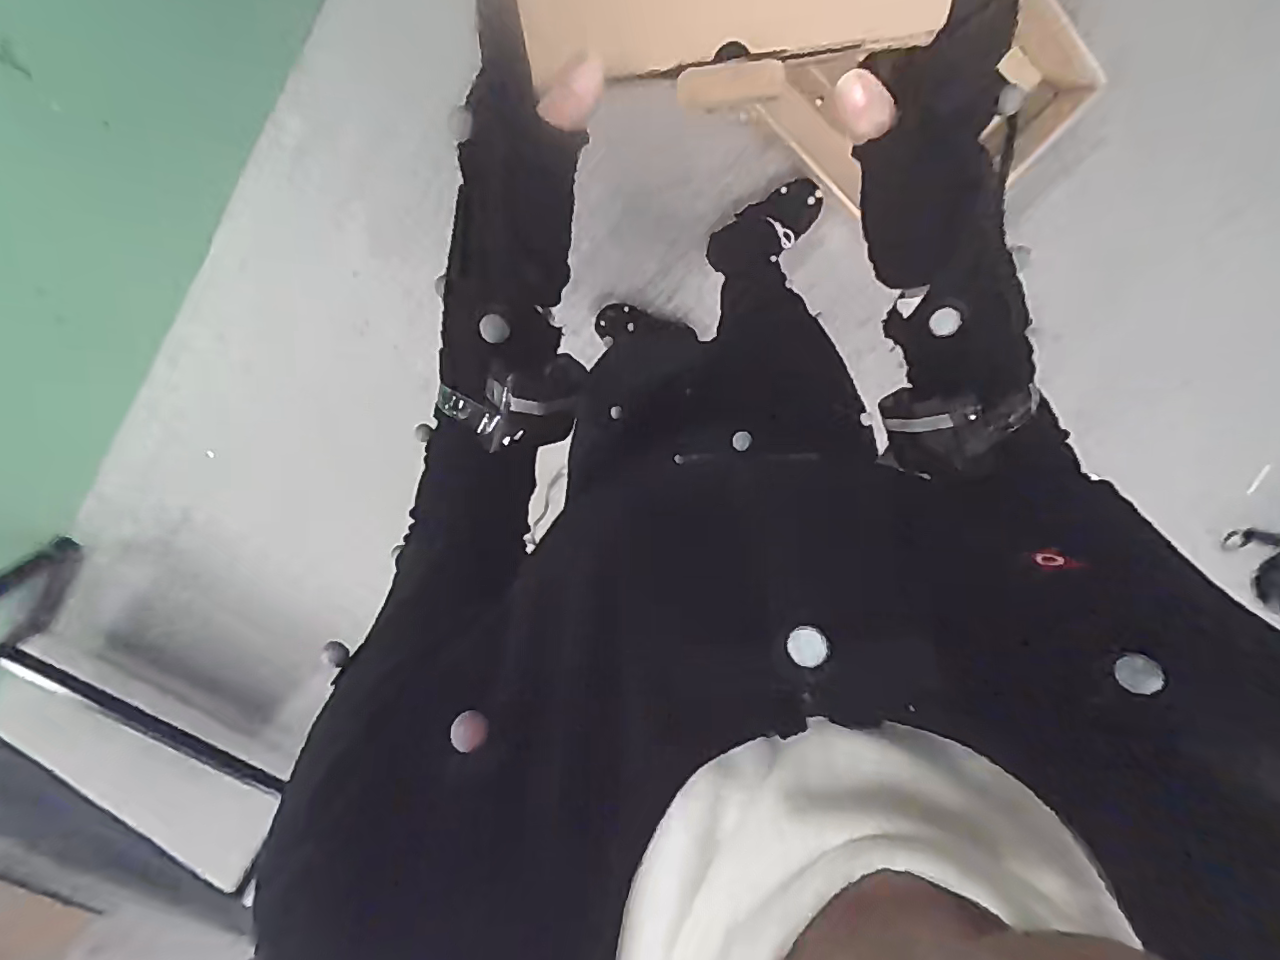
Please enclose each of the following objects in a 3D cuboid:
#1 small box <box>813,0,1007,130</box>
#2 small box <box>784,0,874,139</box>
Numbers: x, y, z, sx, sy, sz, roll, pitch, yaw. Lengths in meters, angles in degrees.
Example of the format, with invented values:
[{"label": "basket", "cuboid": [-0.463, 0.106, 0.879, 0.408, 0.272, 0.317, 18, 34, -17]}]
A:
[{"label": "small box", "cuboid": [0.381, -0.659, 0.805, 0.168, 0.176, 0.179, 36, 113, -18]}, {"label": "small box", "cuboid": [0.380, -0.733, 0.948, 0.179, 0.176, 0.168, 37, 114, -15]}]
